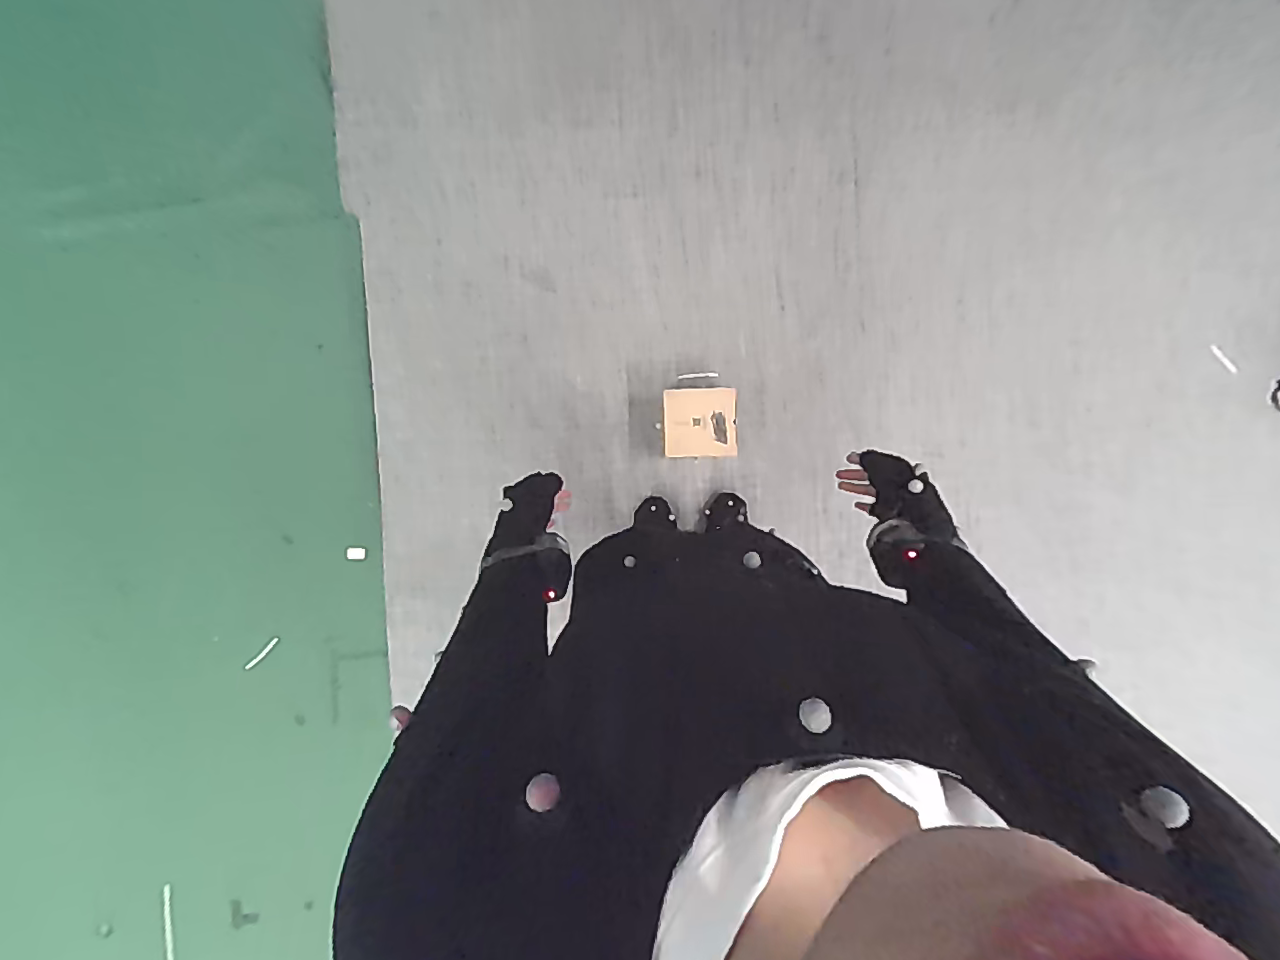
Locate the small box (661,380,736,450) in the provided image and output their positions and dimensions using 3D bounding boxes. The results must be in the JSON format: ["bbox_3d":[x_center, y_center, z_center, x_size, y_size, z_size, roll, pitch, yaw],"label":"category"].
[{"bbox_3d":[0.145,-0.163,1.382,0.179,0.176,0.168,-1,91,1],"label":"small box"}]
